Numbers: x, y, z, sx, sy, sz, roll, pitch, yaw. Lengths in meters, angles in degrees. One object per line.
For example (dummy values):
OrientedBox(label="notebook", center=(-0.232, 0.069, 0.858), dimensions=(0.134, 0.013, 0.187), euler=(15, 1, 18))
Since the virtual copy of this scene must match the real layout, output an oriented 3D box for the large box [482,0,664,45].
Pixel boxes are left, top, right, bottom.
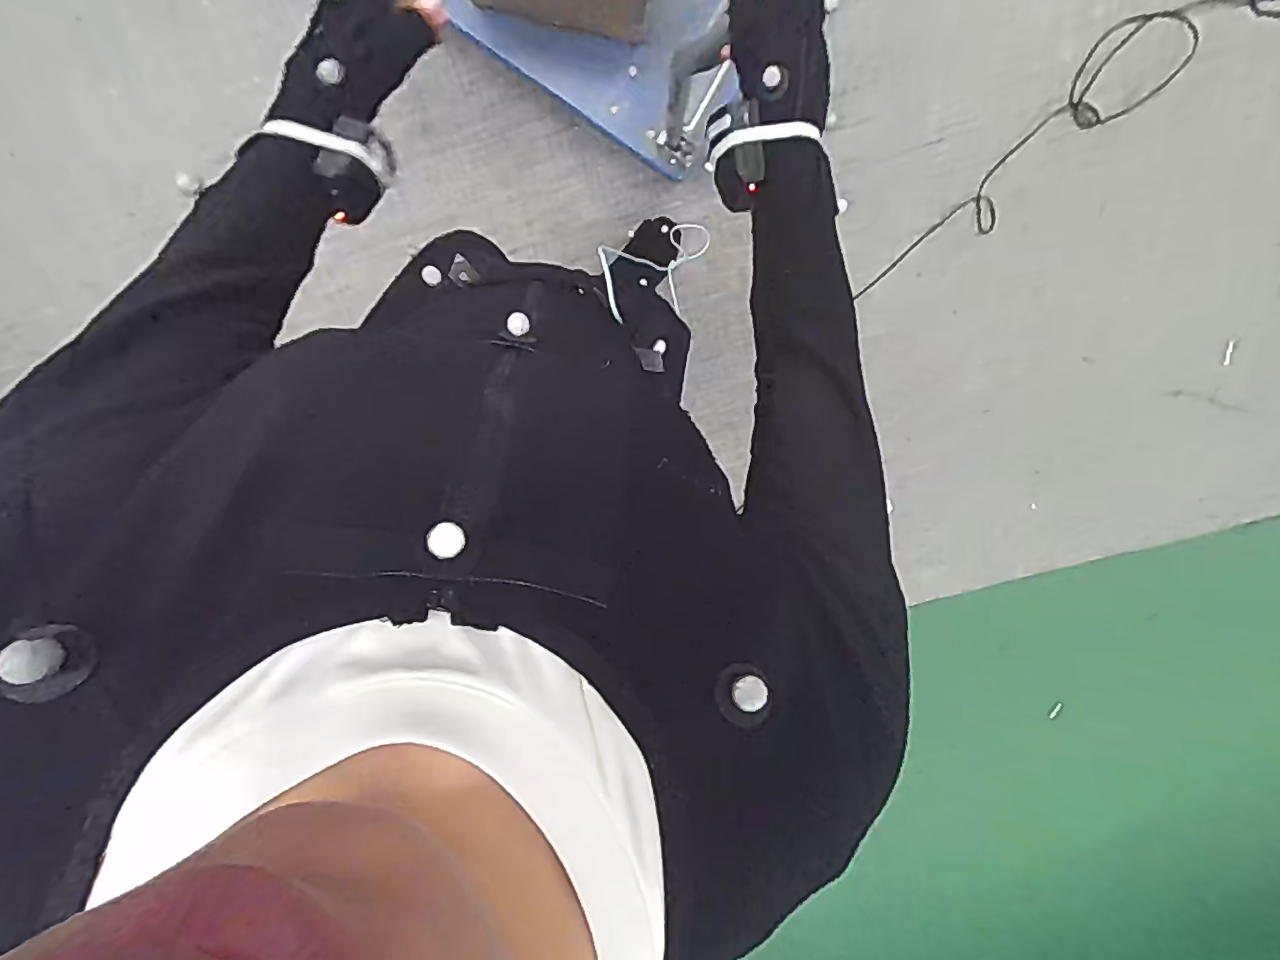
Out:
OrientedBox(label="large box", center=(-0.090, -0.929, 0.767), dimensions=(0.320, 0.320, 0.408), euler=(7, 117, -5))
